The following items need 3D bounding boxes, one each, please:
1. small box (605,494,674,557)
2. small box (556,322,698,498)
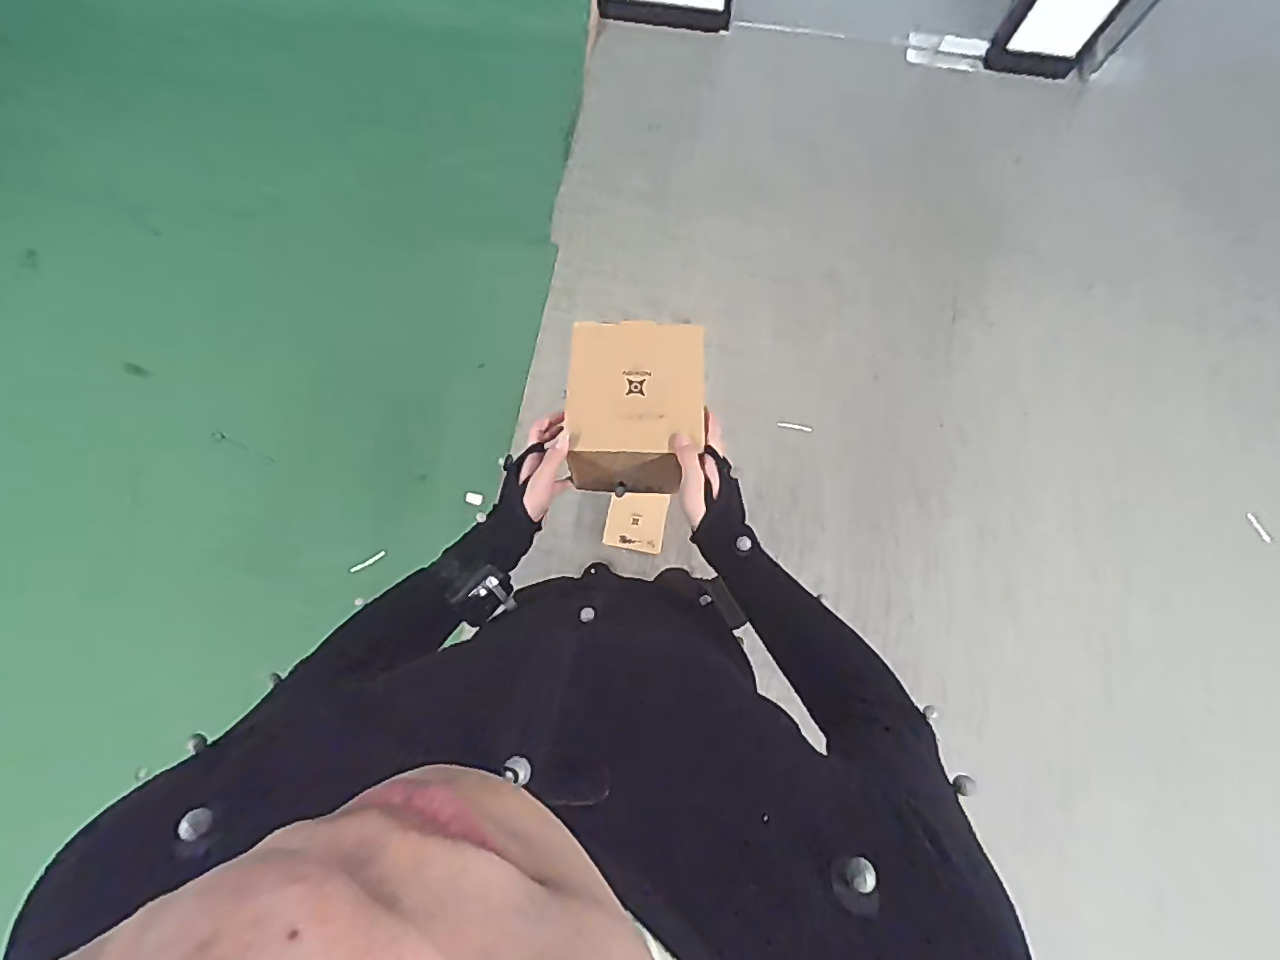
[{"bbox_3d":[0.001,0.124,1.593,0.168,0.176,0.179,12,80,4],"label":"small box"},{"bbox_3d":[-0.014,-0.087,0.726,0.168,0.176,0.179,2,71,1],"label":"small box"}]
